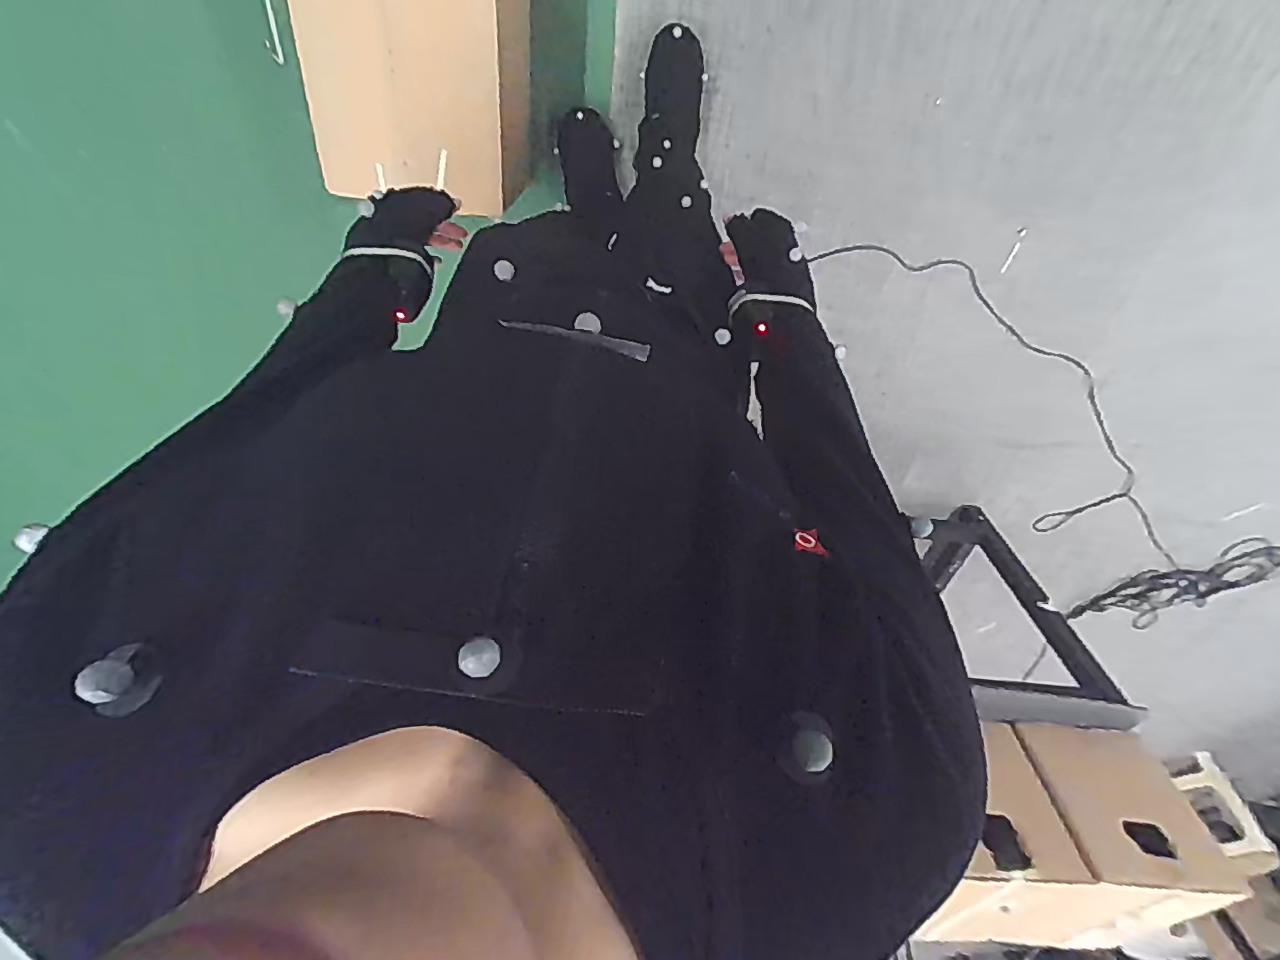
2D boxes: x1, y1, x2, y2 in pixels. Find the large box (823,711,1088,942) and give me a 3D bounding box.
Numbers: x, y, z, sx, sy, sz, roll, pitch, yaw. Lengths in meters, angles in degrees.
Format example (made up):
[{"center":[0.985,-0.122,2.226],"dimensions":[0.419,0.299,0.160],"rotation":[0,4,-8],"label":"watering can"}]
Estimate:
[{"center":[0.650,0.775,1.210],"dimensions":[0.320,0.320,0.408],"rotation":[5,126,-5],"label":"large box"}]
